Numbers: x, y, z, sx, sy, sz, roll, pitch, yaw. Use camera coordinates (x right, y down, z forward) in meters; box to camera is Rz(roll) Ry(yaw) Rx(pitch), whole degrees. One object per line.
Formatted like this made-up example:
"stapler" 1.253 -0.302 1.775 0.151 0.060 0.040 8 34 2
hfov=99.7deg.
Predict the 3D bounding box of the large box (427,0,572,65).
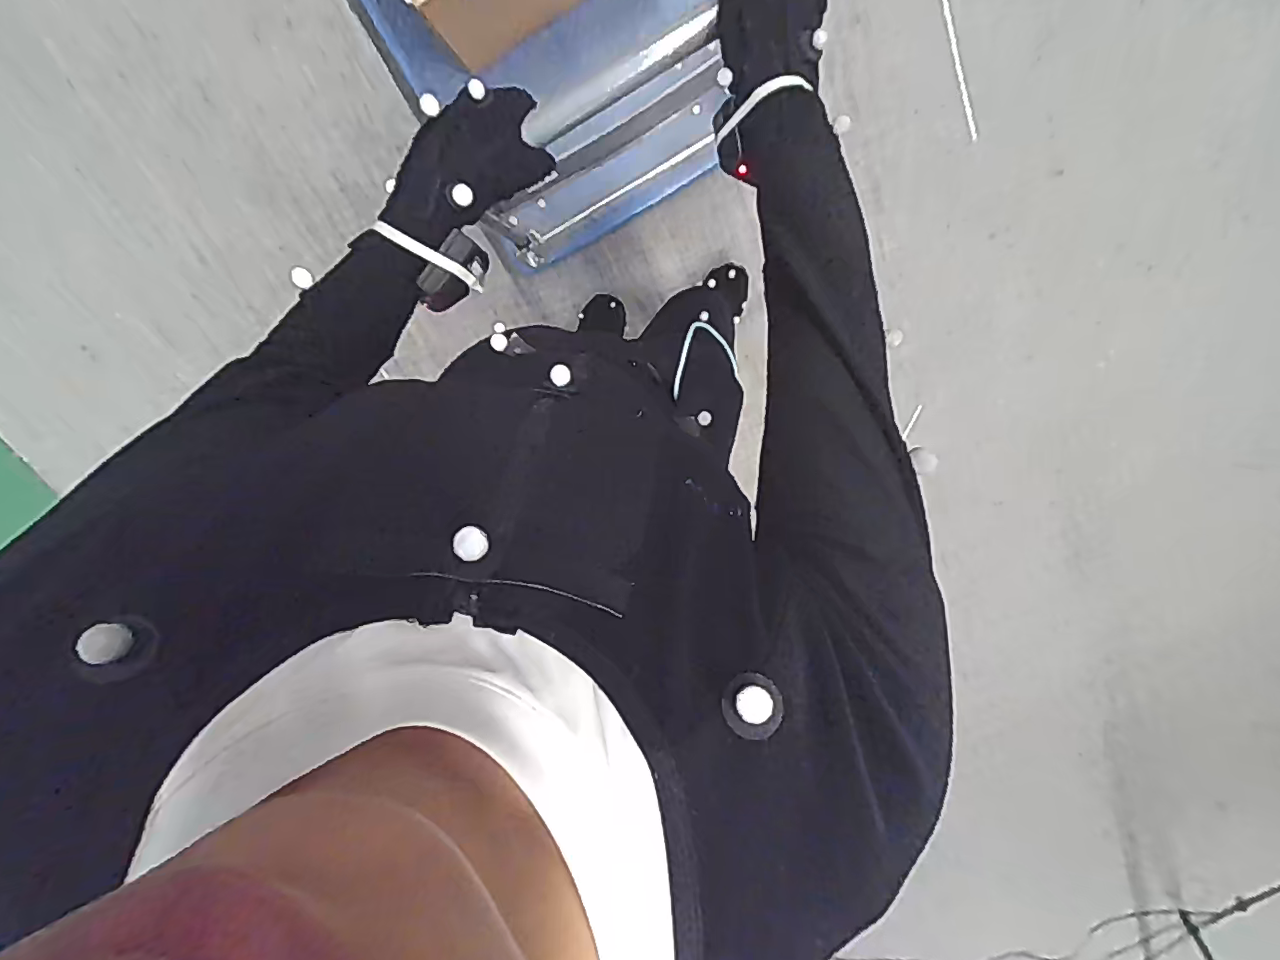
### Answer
"large box" -0.200 -0.932 0.800 0.408 0.320 0.320 -28 111 10
